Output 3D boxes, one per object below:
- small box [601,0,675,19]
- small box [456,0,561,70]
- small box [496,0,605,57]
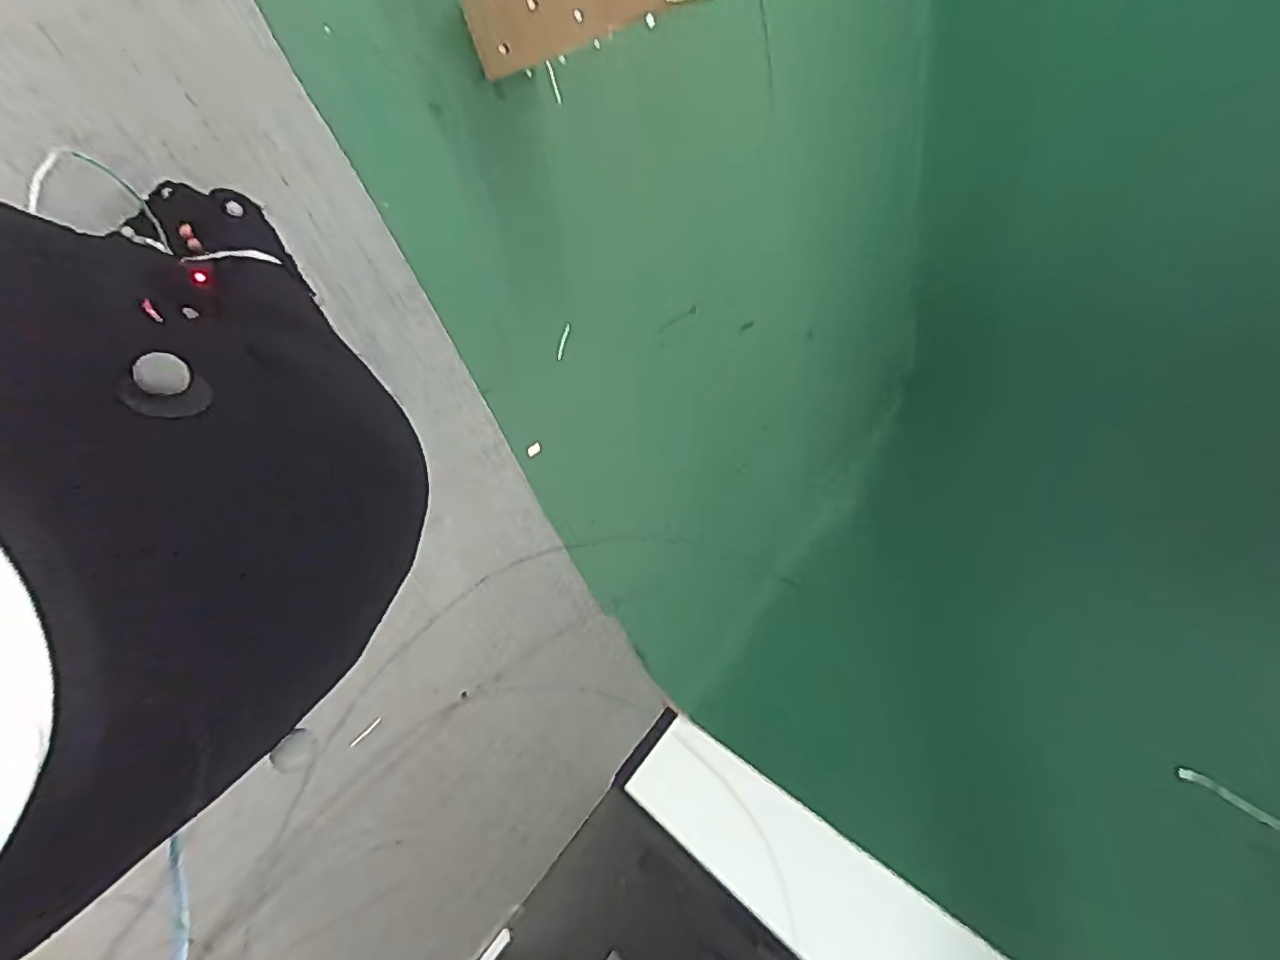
[{"bbox_3d":[0.017,-0.999,1.001,0.168,0.176,0.179,-40,131,-28],"label":"small box"},{"bbox_3d":[-0.321,-1.138,1.330,0.168,0.176,0.179,-43,134,-27],"label":"small box"},{"bbox_3d":[-0.211,-1.086,1.221,0.168,0.176,0.179,-41,133,-27],"label":"small box"}]
